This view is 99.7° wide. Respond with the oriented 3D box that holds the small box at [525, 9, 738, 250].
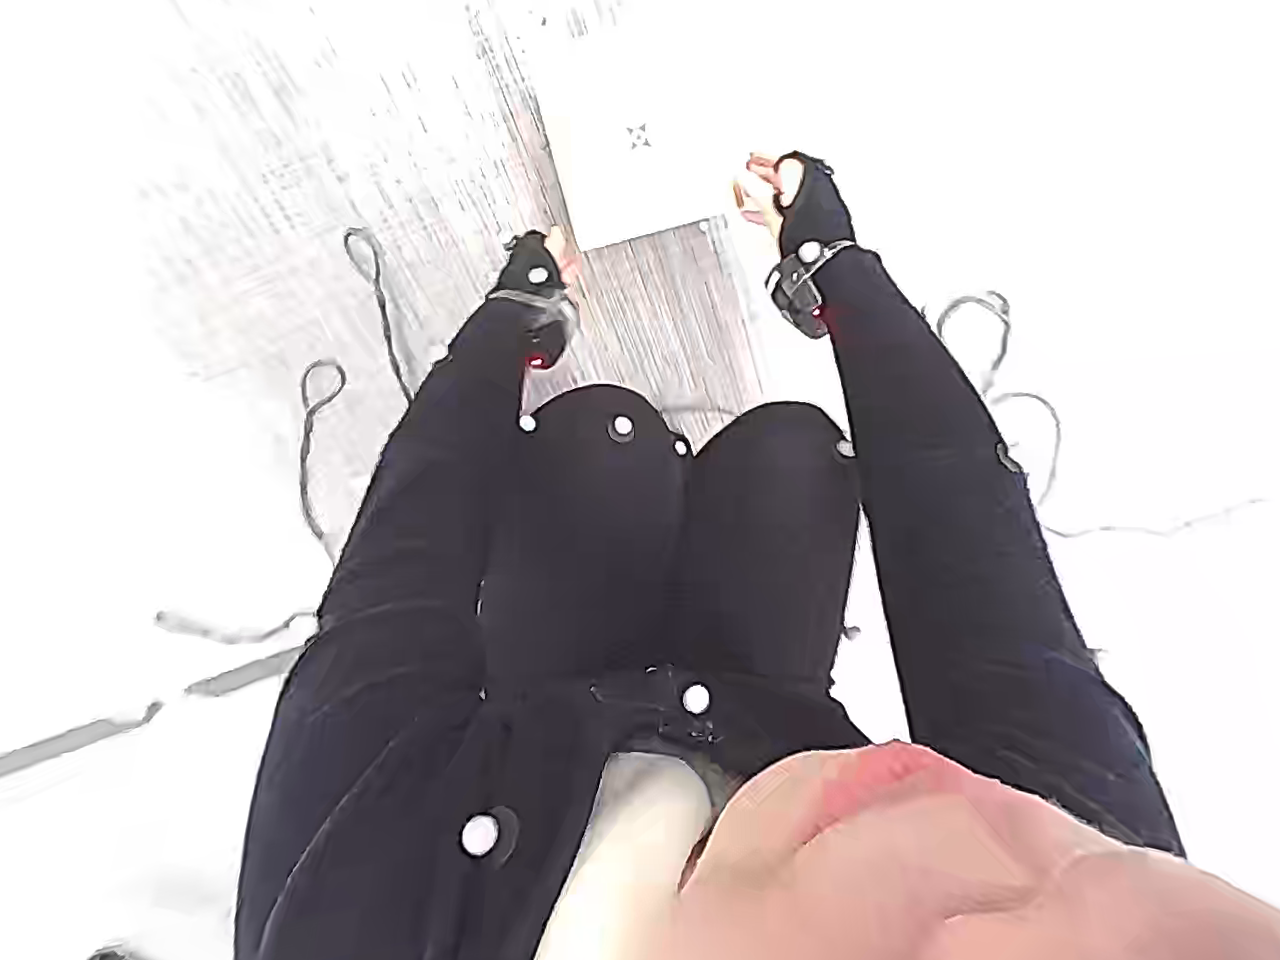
[{"bbox_3d":[-0.010,-0.359,0.582,0.179,0.176,0.168,-16,119,0],"label":"small box"}]
